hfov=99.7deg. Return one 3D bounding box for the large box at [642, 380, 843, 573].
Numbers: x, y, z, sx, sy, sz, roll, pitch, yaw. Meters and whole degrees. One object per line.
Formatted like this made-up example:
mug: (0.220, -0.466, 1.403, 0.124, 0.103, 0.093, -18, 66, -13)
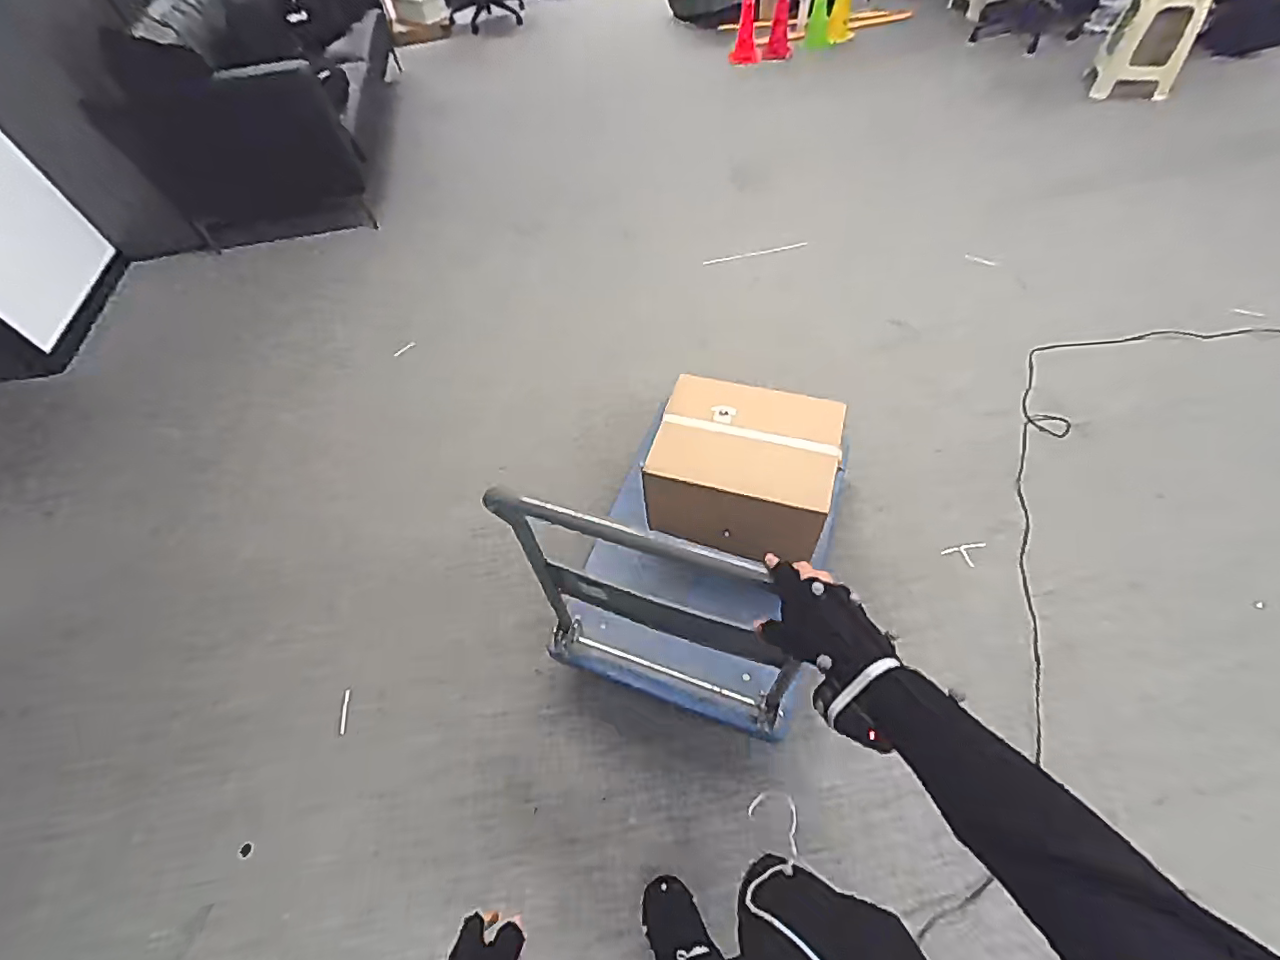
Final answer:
large box: (0.255, -0.007, 1.347, 0.408, 0.320, 0.320, 13, 57, 16)
